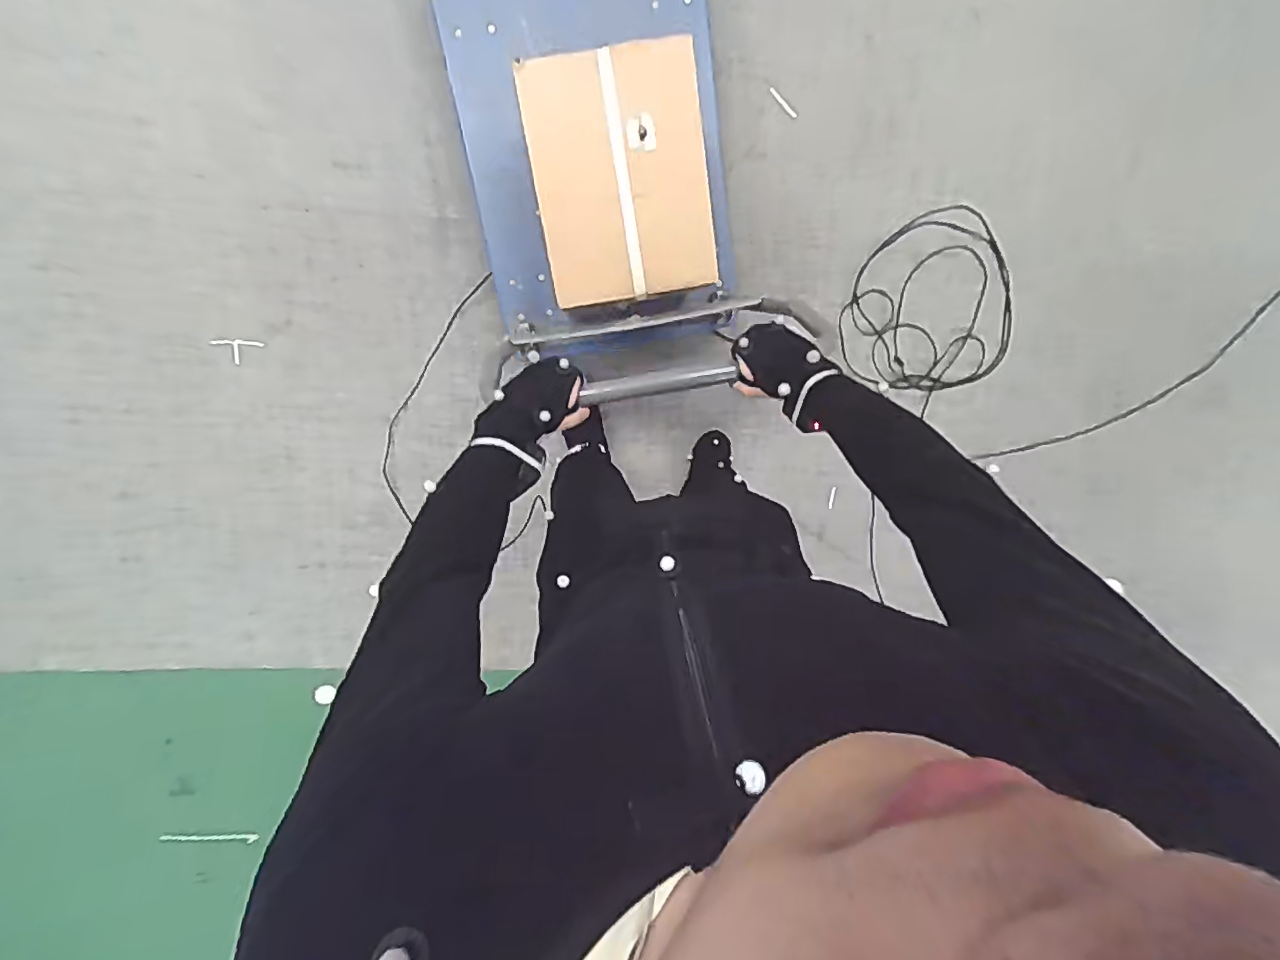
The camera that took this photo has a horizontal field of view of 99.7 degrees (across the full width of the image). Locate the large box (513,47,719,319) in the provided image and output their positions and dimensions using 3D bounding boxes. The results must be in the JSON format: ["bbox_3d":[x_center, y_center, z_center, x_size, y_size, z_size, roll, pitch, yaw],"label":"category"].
[{"bbox_3d":[-0.043,-0.568,1.121,0.320,0.320,0.408,-11,106,-3],"label":"large box"}]
